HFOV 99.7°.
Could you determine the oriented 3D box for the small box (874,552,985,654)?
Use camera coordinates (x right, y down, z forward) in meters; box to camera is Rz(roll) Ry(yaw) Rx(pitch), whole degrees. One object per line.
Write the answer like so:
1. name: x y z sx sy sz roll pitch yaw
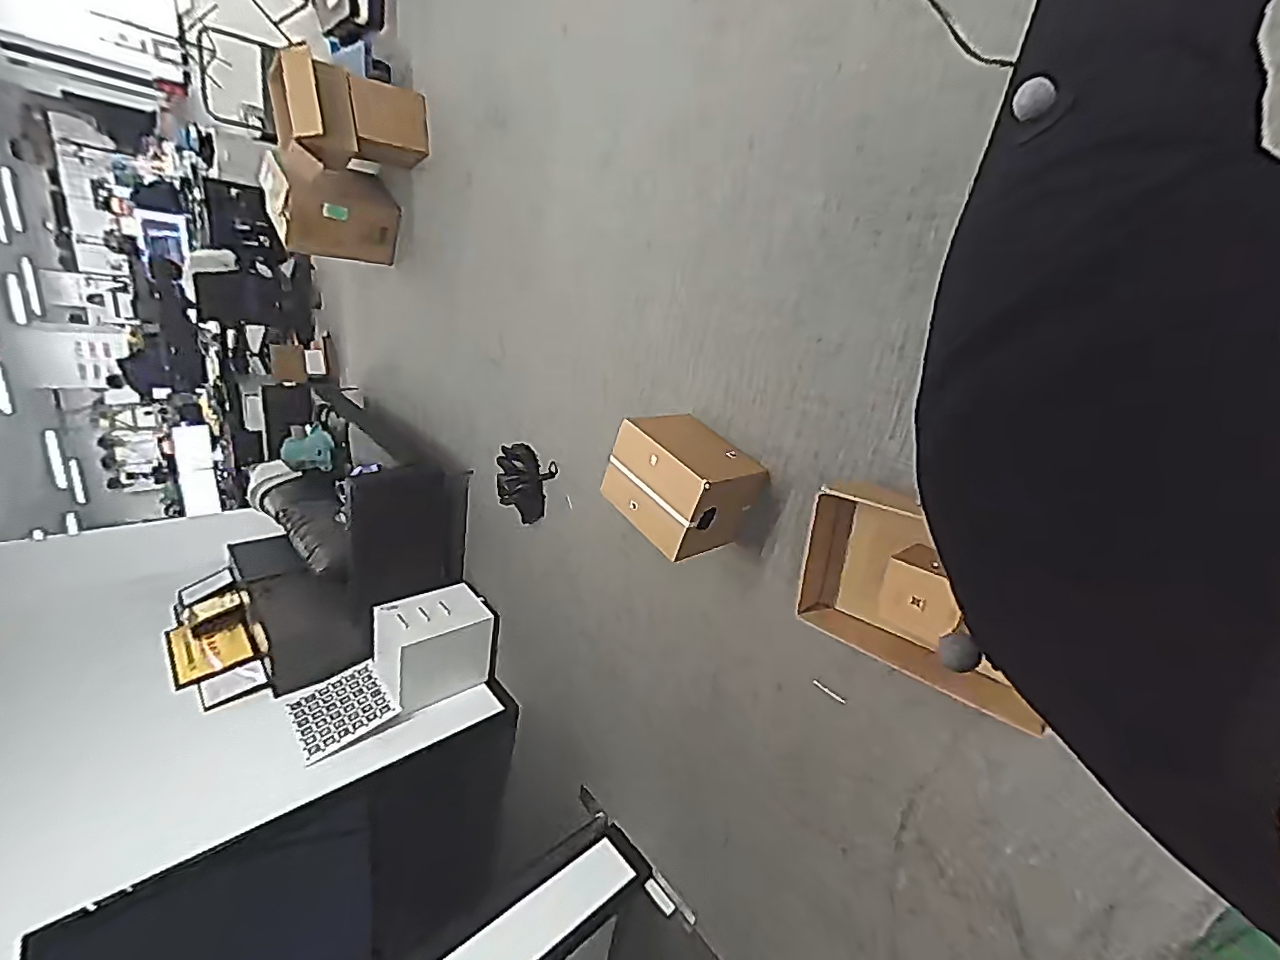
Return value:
1. small box: 0.710 0.290 1.322 0.179 0.176 0.168 23 113 44
